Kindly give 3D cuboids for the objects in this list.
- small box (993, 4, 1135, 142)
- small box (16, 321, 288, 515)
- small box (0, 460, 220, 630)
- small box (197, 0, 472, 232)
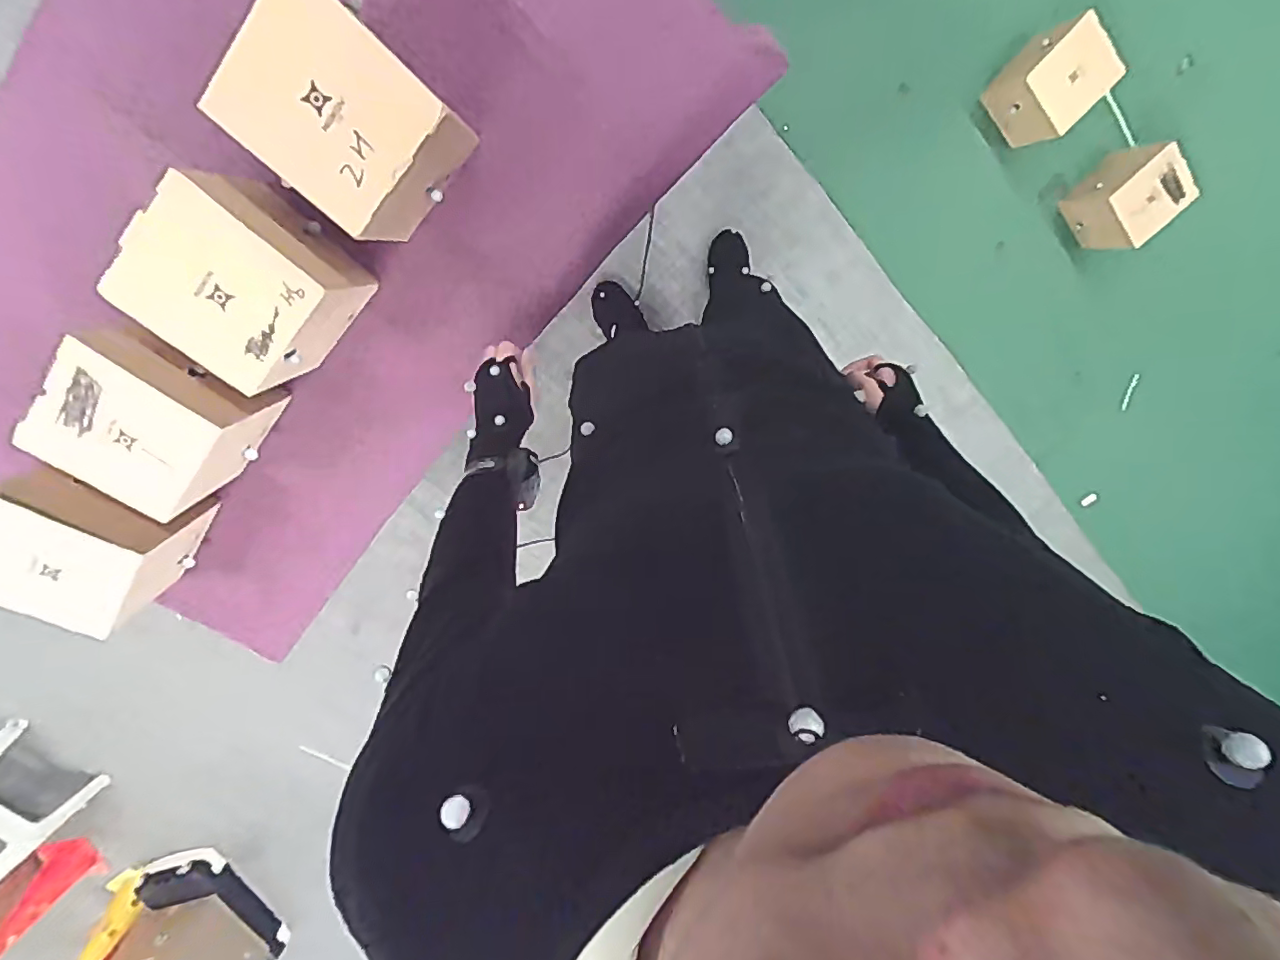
[{"bbox_3d":[0.971,-0.932,1.262,0.168,0.176,0.179,39,105,-18],"label":"small box"},{"bbox_3d":[-0.624,-0.092,0.716,0.179,0.176,0.168,38,106,-19],"label":"small box"},{"bbox_3d":[-0.769,0.073,0.776,0.179,0.176,0.168,34,107,-17],"label":"small box"},{"bbox_3d":[-0.319,-0.400,0.604,0.179,0.176,0.168,40,106,-19],"label":"small box"}]
